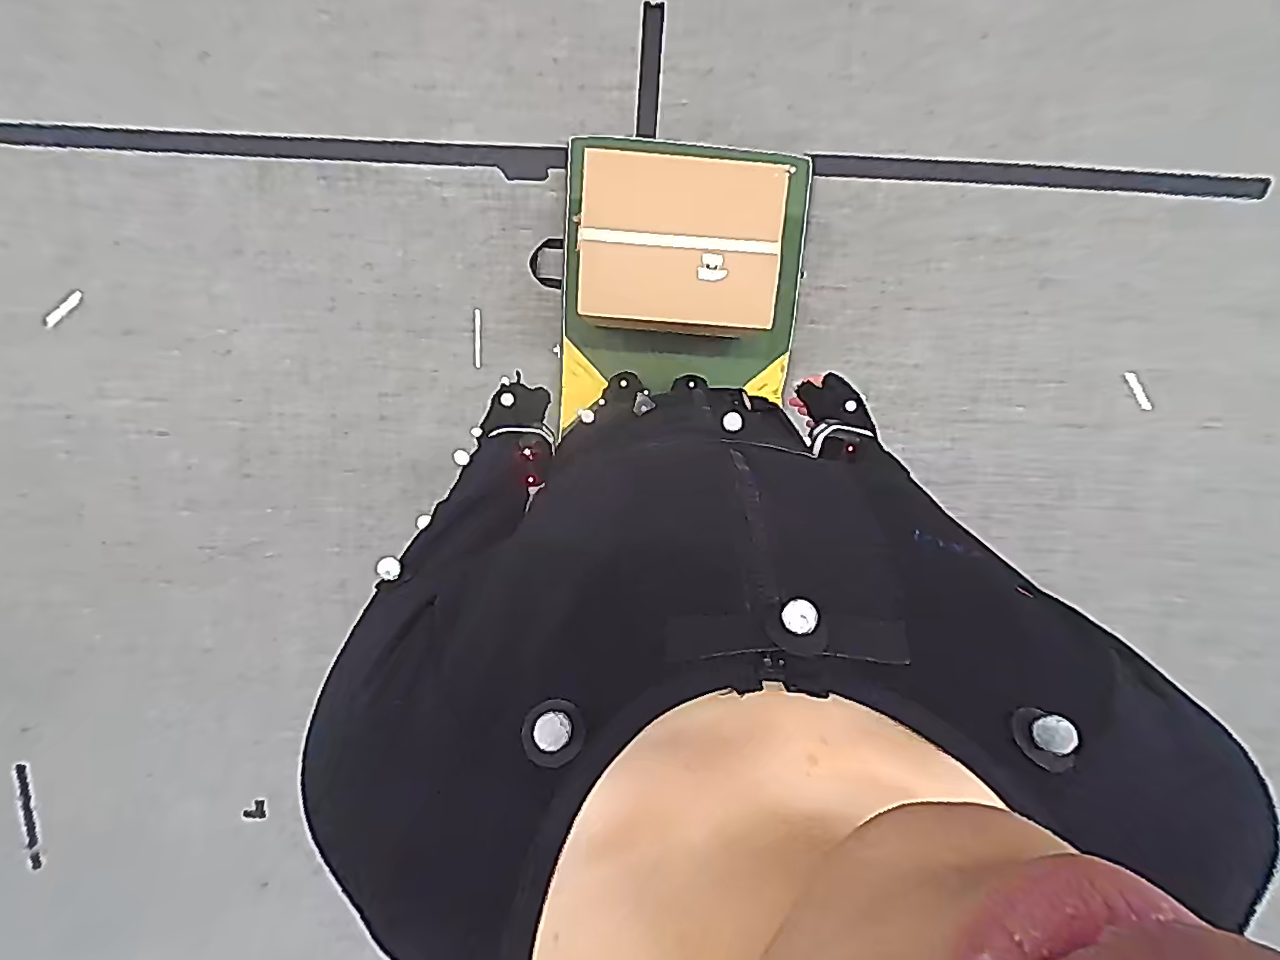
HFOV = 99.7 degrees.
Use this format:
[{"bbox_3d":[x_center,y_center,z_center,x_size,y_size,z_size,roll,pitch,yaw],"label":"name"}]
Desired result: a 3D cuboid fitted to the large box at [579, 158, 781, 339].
[{"bbox_3d":[0.070,-0.502,1.244,0.408,0.320,0.320,3,101,-3],"label":"large box"}]
